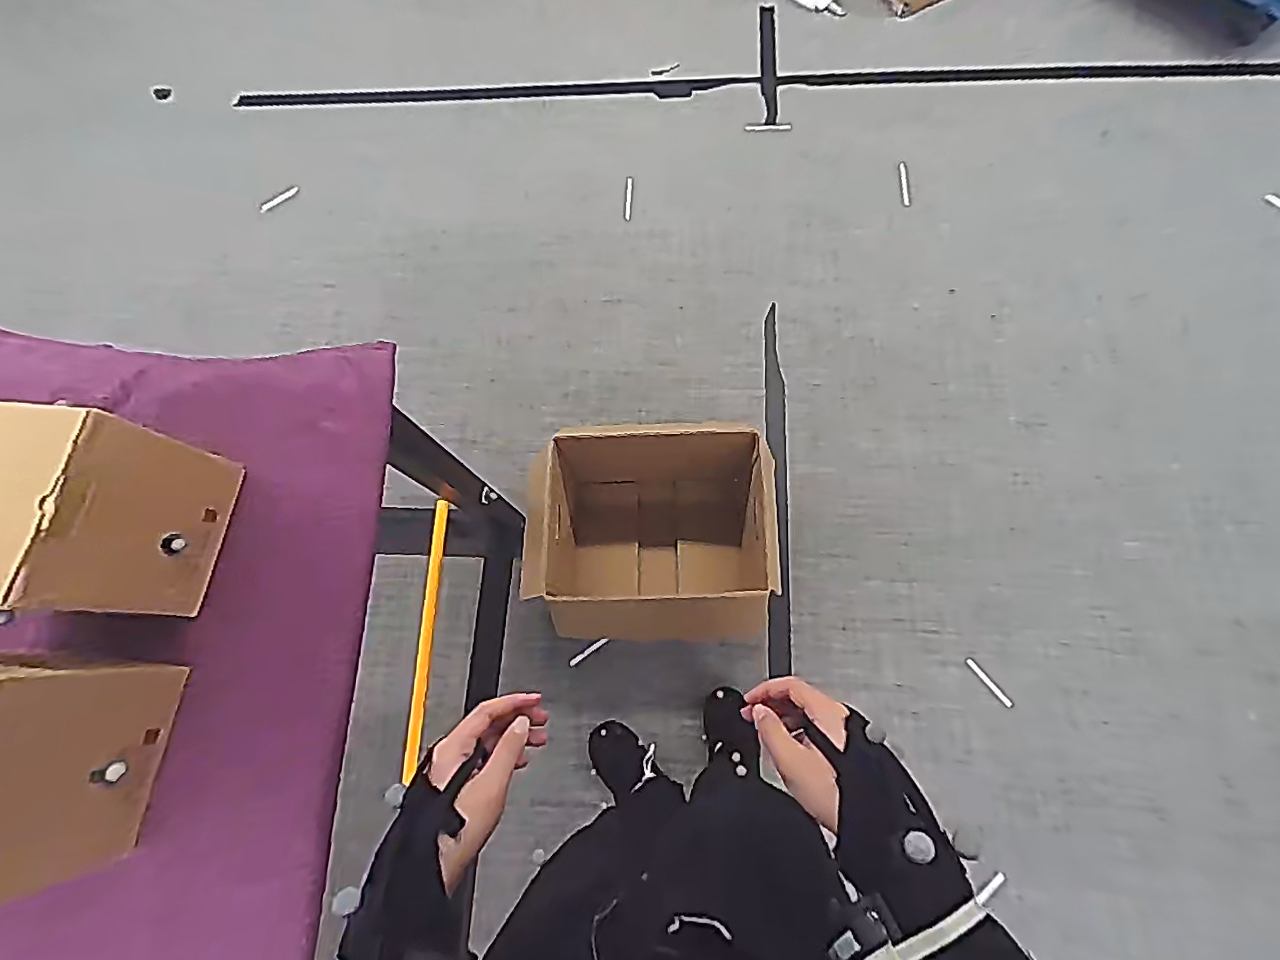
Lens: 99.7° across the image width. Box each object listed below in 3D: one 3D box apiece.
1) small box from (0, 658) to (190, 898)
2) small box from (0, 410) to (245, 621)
[{"bbox_3d":[-0.549,0.243,0.455,0.179,0.176,0.168,4,73,6],"label":"small box"},{"bbox_3d":[-0.541,0.042,0.518,0.179,0.176,0.168,4,73,6],"label":"small box"}]
